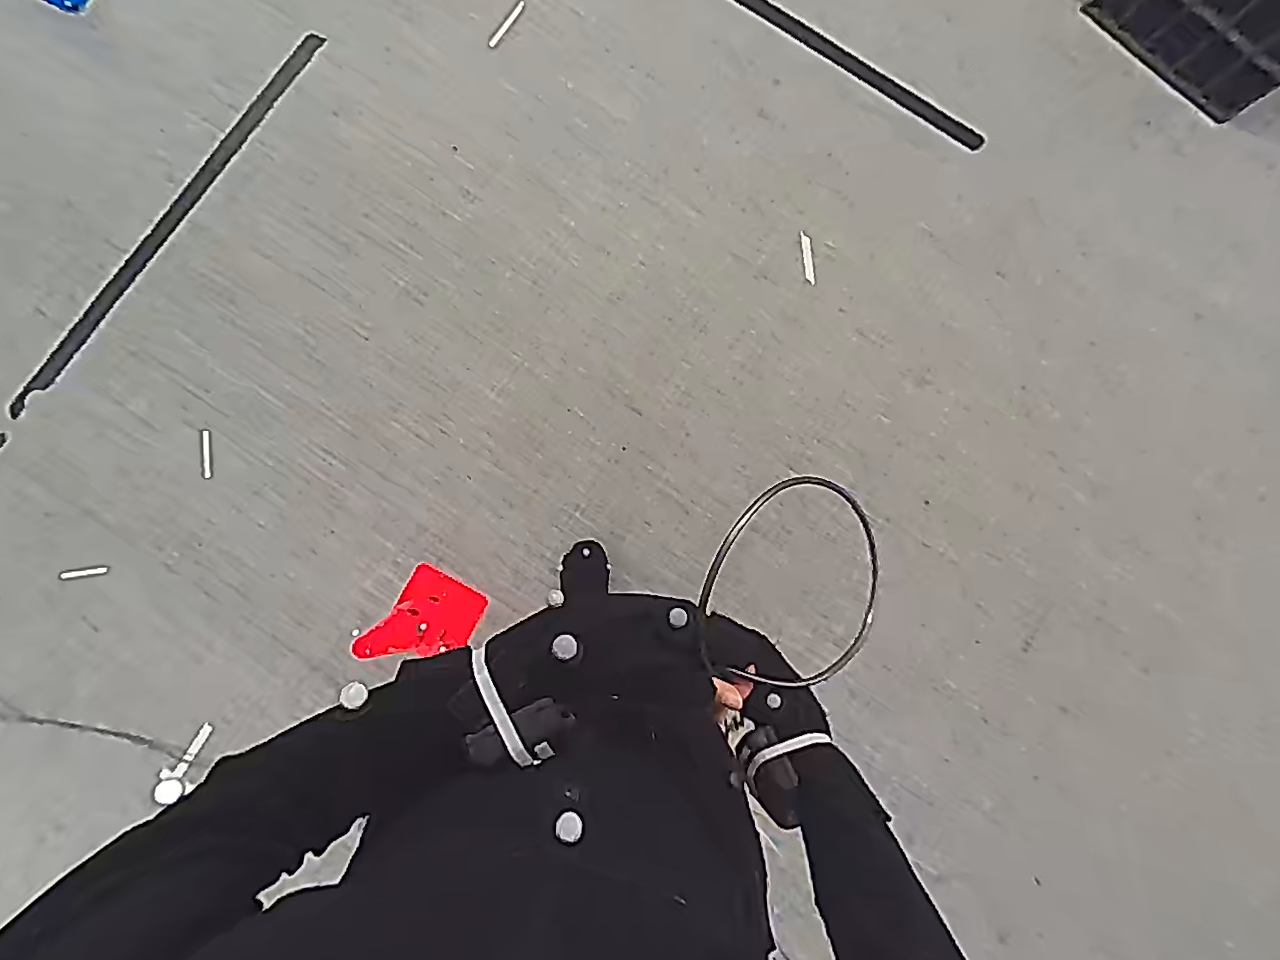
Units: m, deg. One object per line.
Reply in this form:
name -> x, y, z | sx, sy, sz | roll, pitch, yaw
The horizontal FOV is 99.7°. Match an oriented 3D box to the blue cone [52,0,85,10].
blue cone -> -1.509, -1.360, 1.258 | 0.192, 0.380, 0.193 | 29, 85, 2

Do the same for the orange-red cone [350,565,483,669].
orange-red cone -> -0.495, 0.309, 1.120 | 0.198, 0.360, 0.199 | 30, 84, 1
